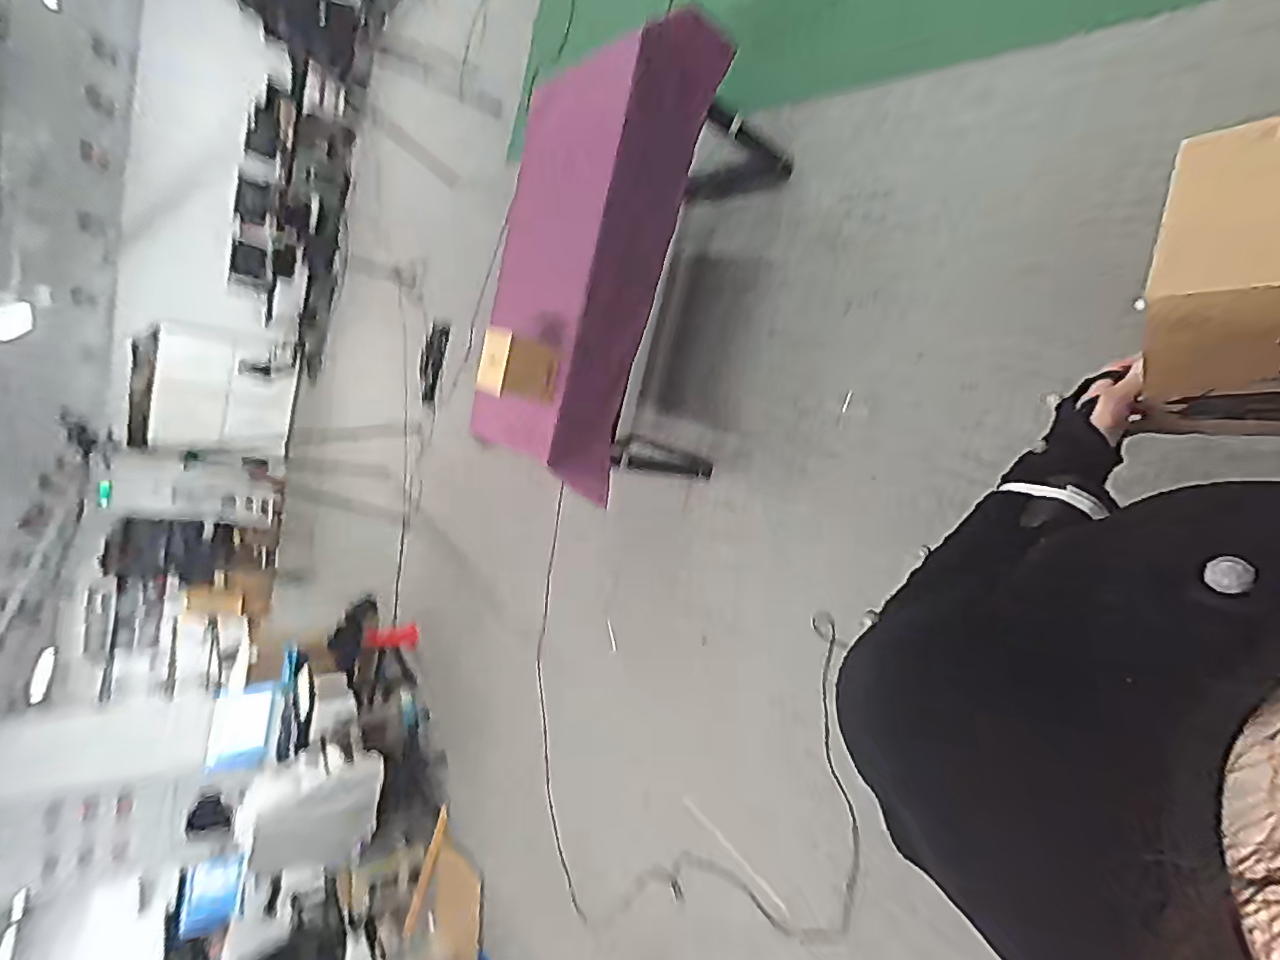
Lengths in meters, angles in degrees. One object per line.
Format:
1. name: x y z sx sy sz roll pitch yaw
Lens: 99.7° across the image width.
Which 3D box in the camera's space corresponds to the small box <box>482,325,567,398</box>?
1. small box: -0.344 -0.349 1.605 0.179 0.176 0.168 26 105 47
